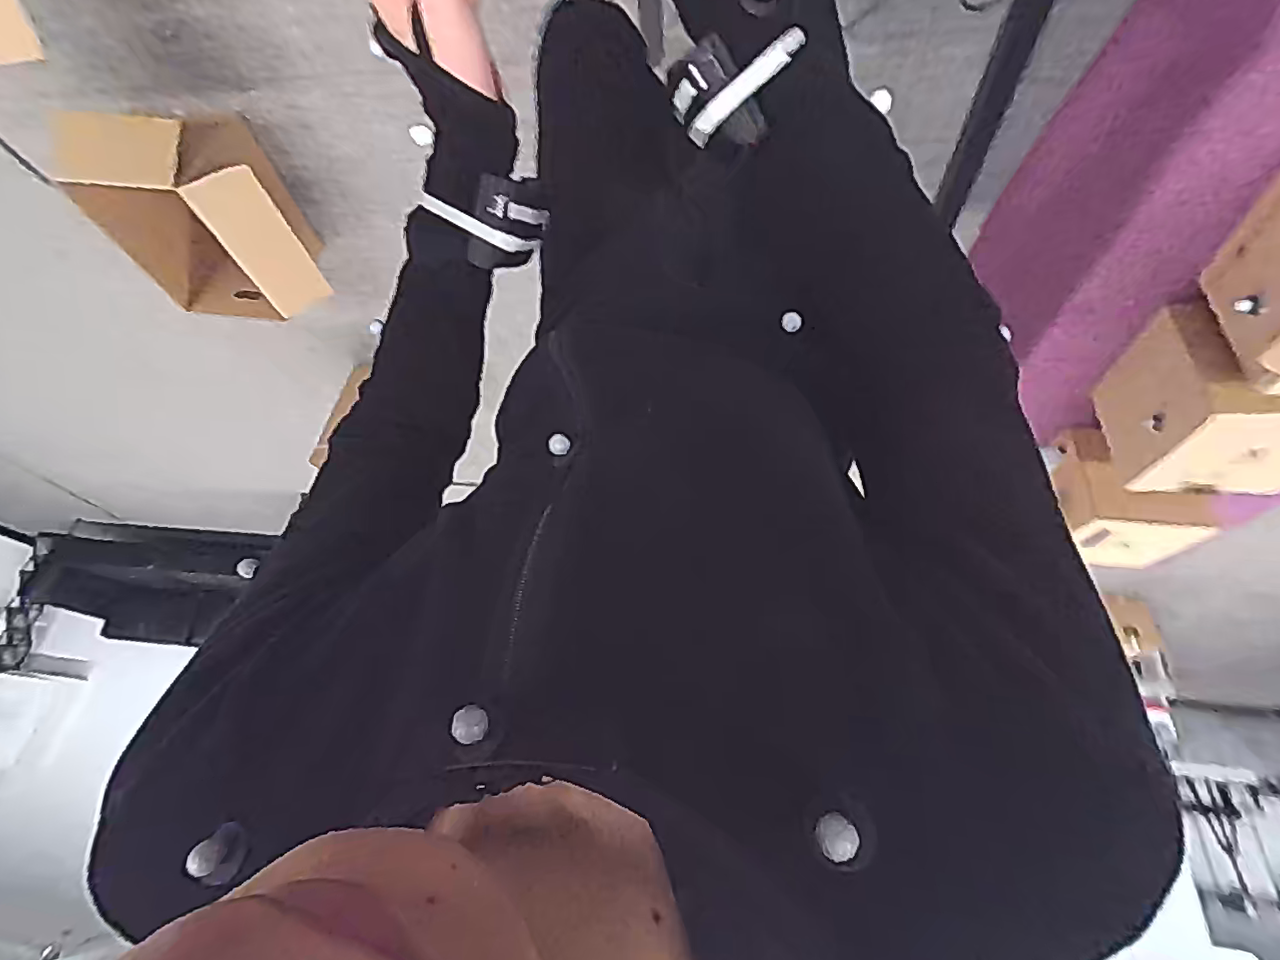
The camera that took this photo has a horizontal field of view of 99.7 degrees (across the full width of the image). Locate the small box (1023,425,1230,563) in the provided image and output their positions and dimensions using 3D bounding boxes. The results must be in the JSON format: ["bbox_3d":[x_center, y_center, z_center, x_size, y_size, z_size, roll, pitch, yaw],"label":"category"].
[{"bbox_3d":[0.779,0.024,0.894,0.179,0.176,0.168,4,152,6],"label":"small box"}]

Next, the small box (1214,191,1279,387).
[{"bbox_3d":[0.694,-0.204,0.488,0.179,0.176,0.168,-1,152,16],"label":"small box"}]
